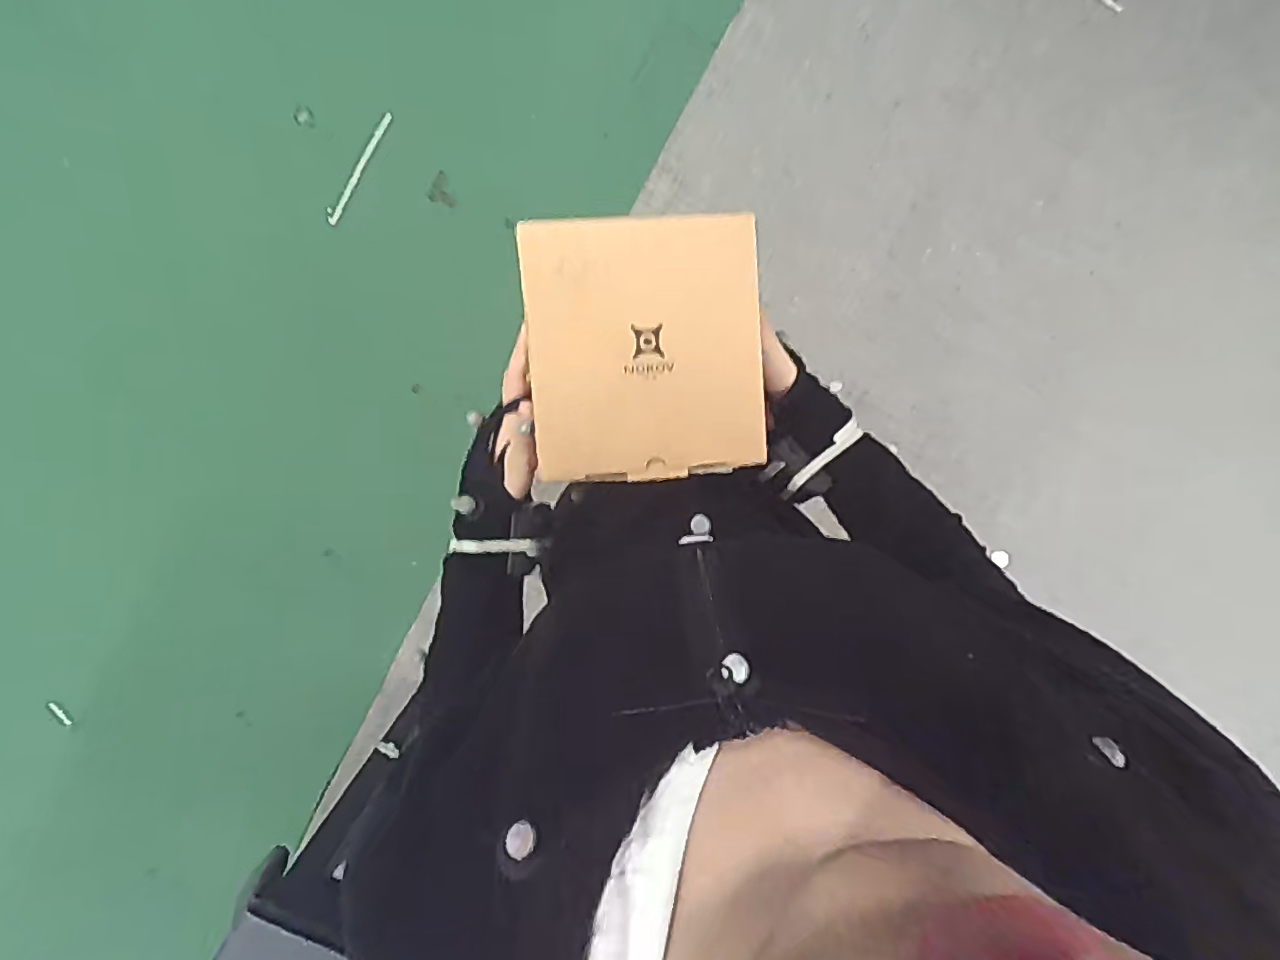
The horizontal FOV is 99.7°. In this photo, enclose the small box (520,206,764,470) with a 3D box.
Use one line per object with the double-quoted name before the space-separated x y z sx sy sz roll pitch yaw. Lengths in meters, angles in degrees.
"small box" -0.006 -0.107 0.456 0.168 0.176 0.179 -6 97 -7
